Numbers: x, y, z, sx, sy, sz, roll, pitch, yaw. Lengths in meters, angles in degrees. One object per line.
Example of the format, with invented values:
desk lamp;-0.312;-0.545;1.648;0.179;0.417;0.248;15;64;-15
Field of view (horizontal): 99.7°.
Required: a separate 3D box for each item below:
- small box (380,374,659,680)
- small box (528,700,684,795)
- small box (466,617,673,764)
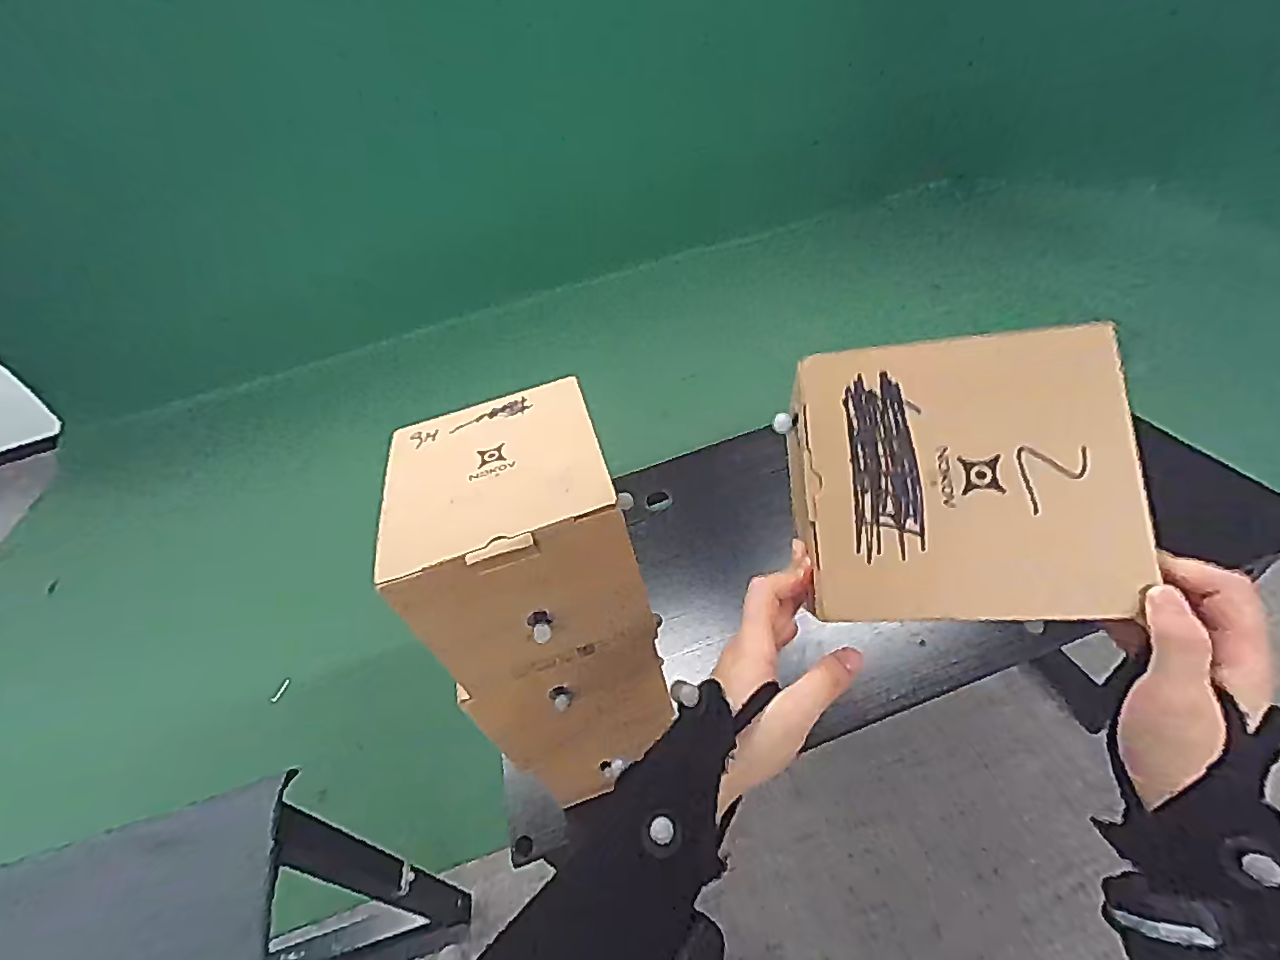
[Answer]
small box;-0.092;0.045;0.457;0.168;0.176;0.179;-18;44;-3
small box;-0.052;0.273;0.689;0.168;0.176;0.179;-18;42;-5
small box;-0.071;0.165;0.570;0.179;0.176;0.168;-19;43;-5
